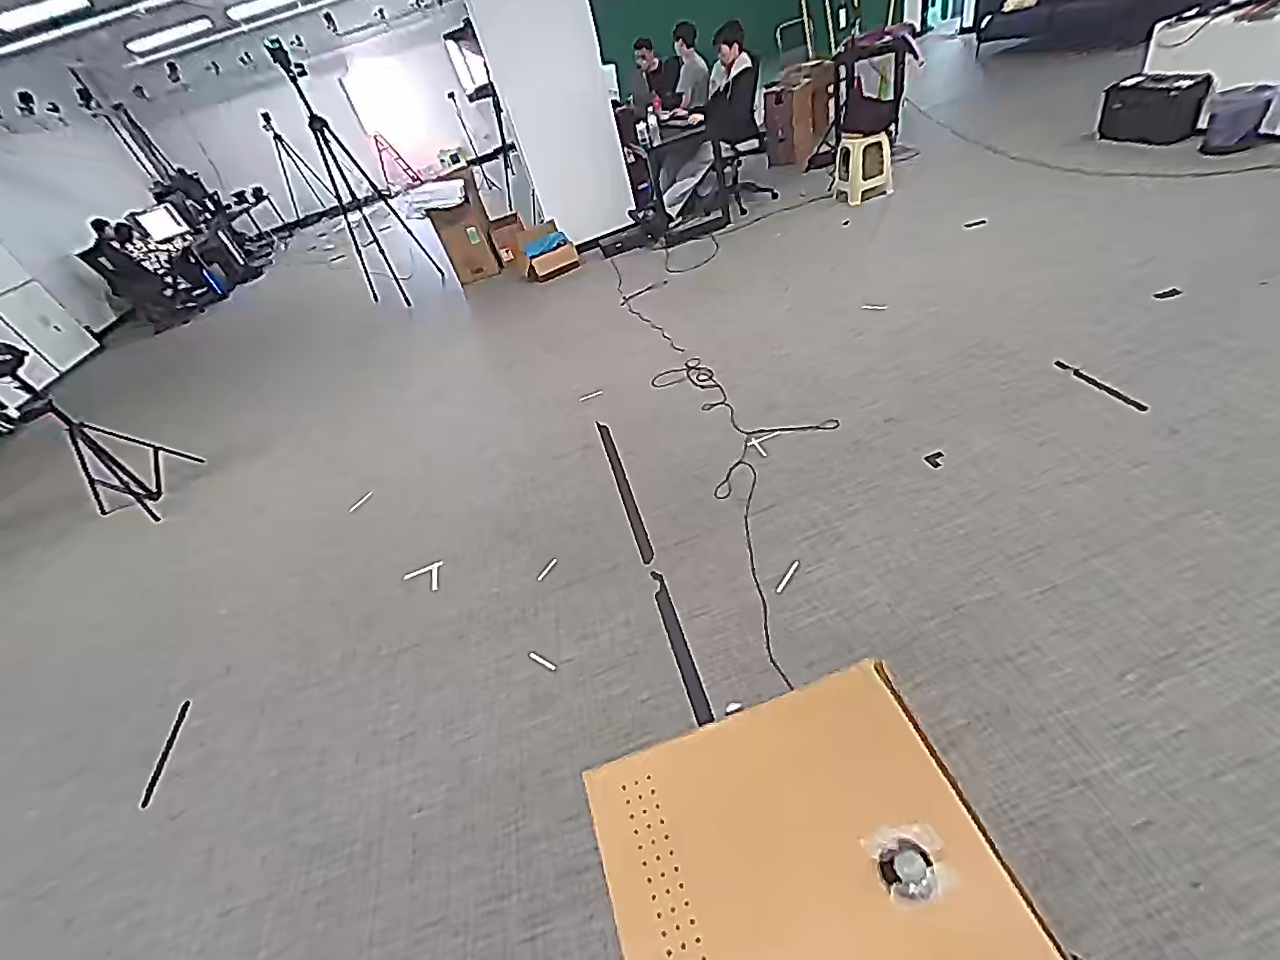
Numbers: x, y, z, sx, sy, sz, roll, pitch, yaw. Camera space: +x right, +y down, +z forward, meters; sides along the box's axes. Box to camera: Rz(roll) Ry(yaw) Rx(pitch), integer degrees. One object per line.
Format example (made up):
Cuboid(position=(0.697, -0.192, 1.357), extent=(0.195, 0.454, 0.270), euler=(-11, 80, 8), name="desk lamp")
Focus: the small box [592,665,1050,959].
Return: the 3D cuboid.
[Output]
Cuboid(position=(0.082, 0.238, 0.297), extent=(0.176, 0.168, 0.179), euler=(-20, 51, -4), name="small box")
